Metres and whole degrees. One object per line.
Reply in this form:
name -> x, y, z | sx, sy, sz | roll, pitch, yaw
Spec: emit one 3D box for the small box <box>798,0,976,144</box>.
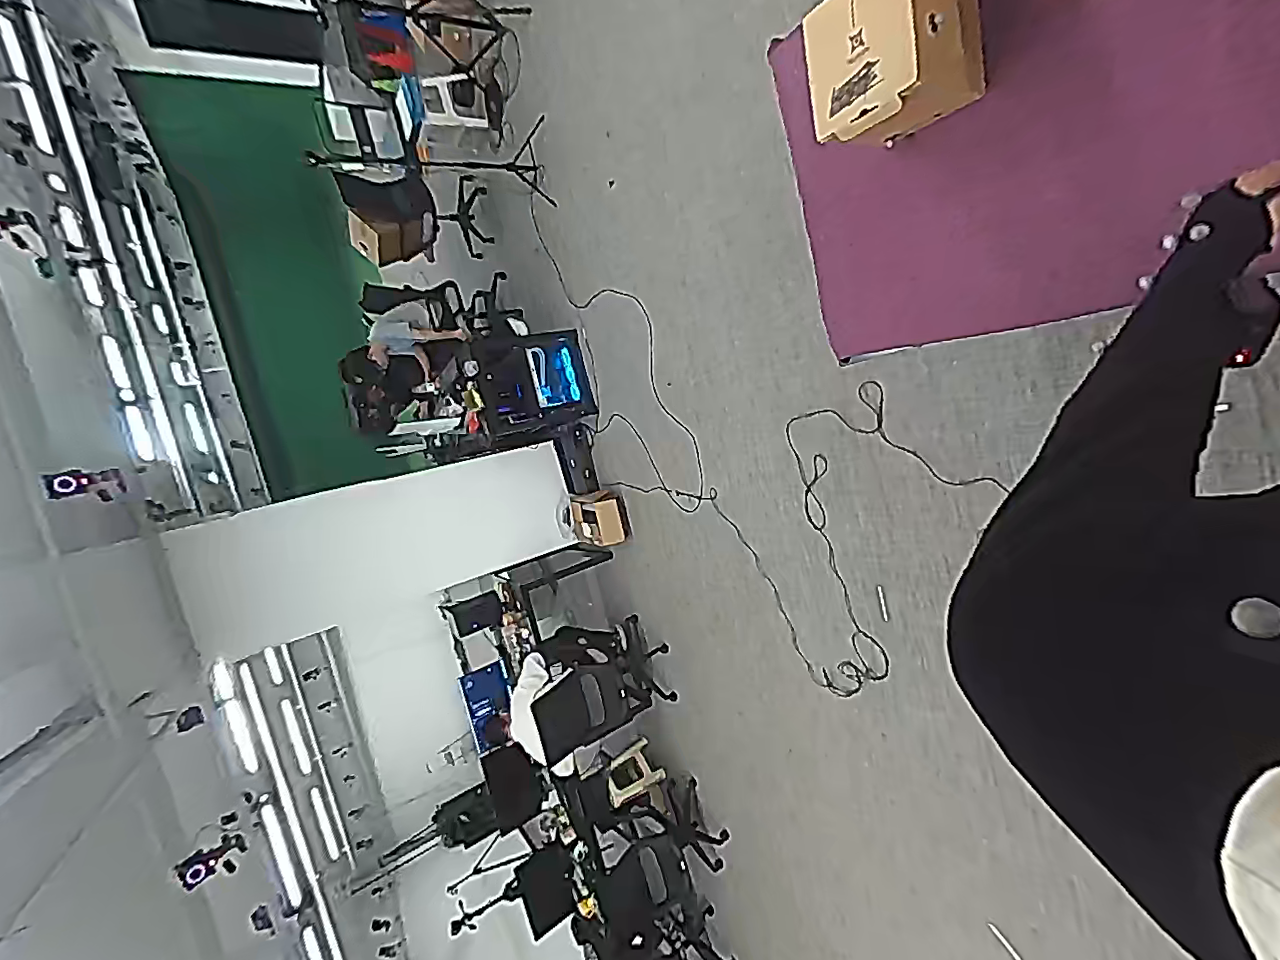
small box -> 0.360, -0.617, 0.784 | 0.168, 0.176, 0.179 | 5, 109, 58
